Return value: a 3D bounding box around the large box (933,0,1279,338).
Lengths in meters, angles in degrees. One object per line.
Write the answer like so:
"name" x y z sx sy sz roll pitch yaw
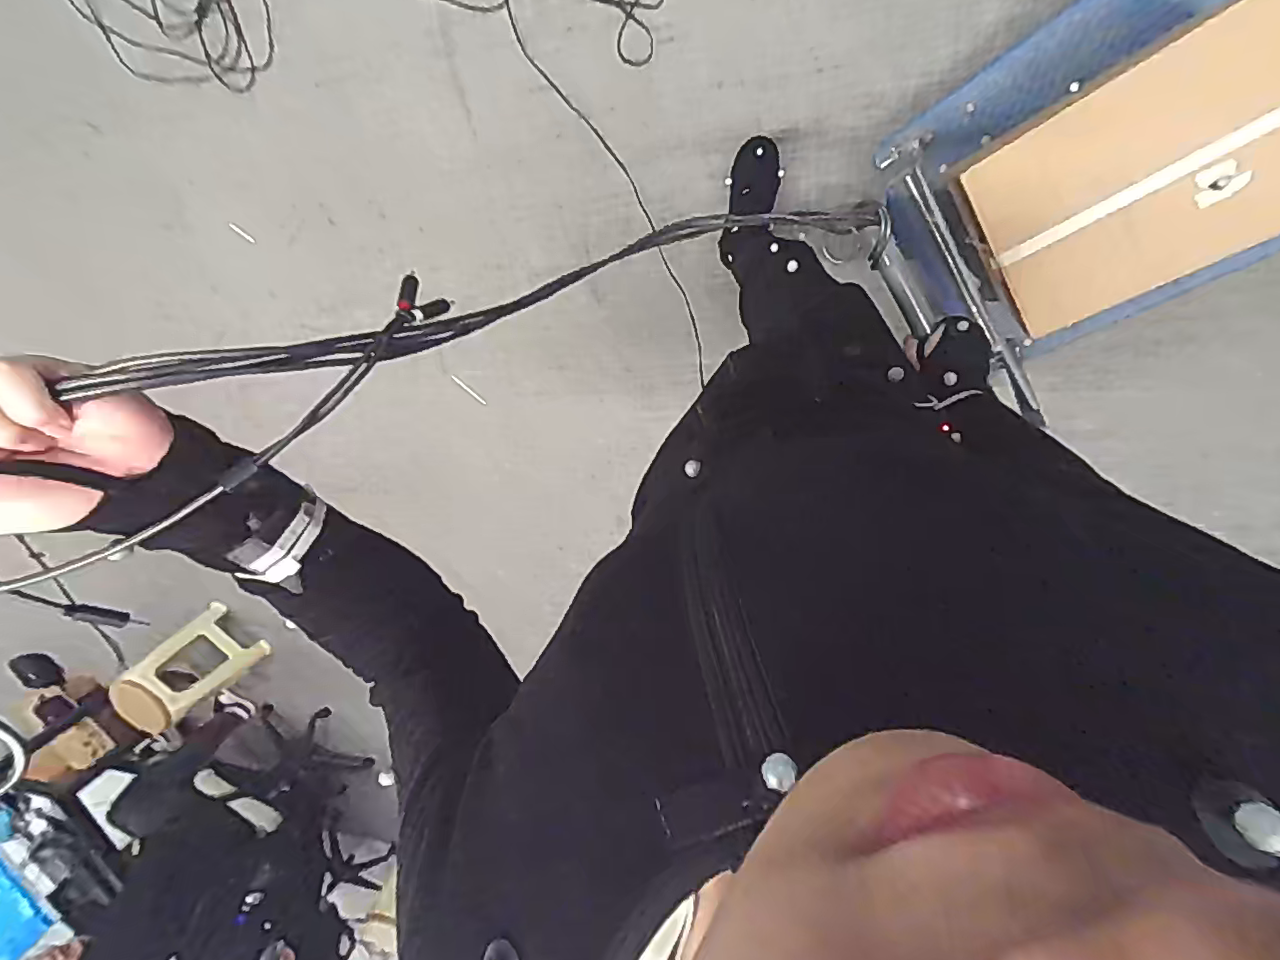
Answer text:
"large box" 0.793 -0.508 0.941 0.408 0.320 0.320 -25 105 32
